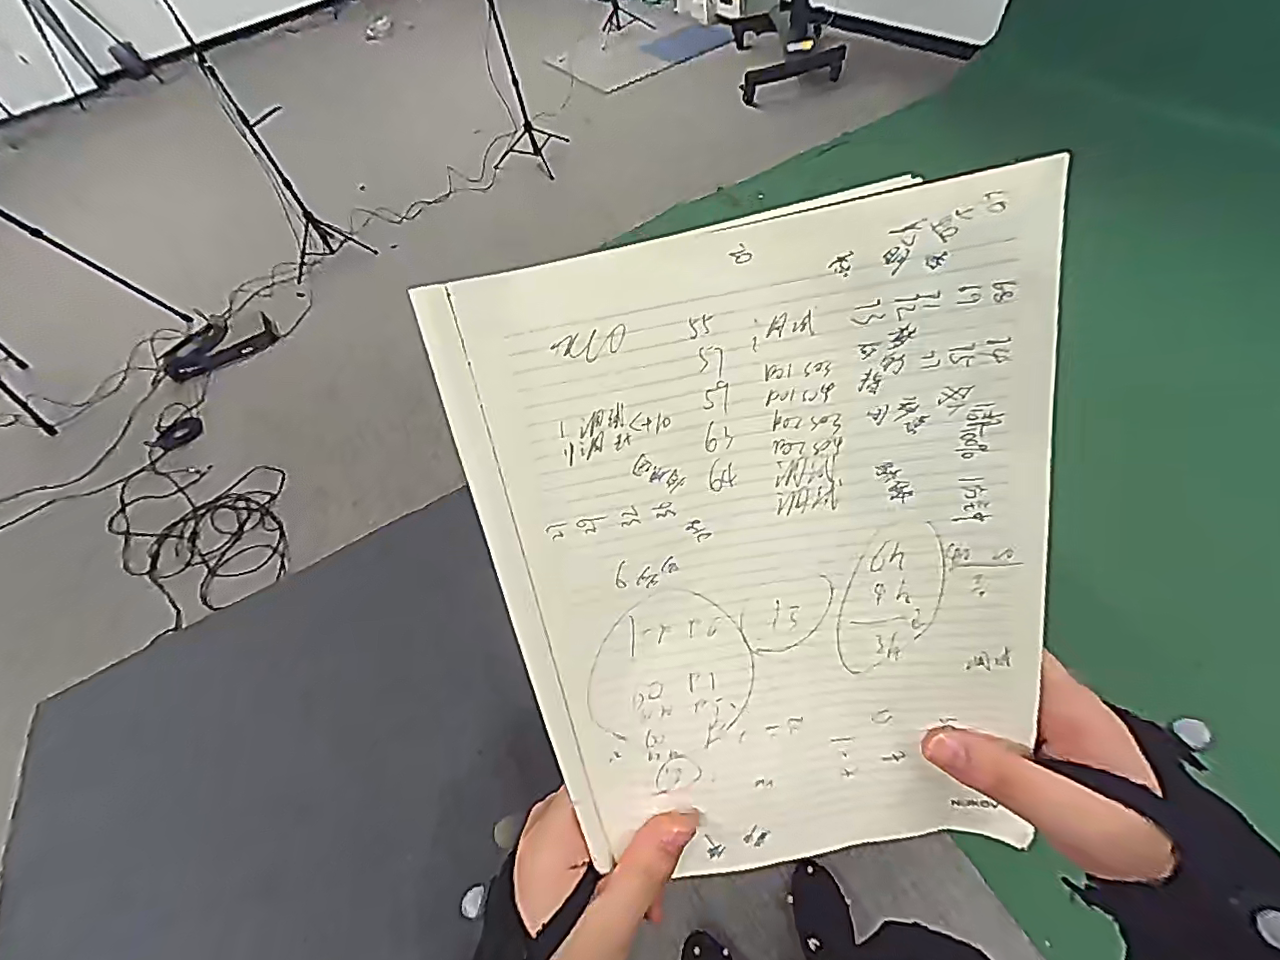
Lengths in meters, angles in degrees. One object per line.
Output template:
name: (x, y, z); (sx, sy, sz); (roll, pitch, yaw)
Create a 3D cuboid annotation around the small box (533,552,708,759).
small box: (-0.022, 0.221, 0.672); (0.168, 0.176, 0.179); (-18, 53, -1)
